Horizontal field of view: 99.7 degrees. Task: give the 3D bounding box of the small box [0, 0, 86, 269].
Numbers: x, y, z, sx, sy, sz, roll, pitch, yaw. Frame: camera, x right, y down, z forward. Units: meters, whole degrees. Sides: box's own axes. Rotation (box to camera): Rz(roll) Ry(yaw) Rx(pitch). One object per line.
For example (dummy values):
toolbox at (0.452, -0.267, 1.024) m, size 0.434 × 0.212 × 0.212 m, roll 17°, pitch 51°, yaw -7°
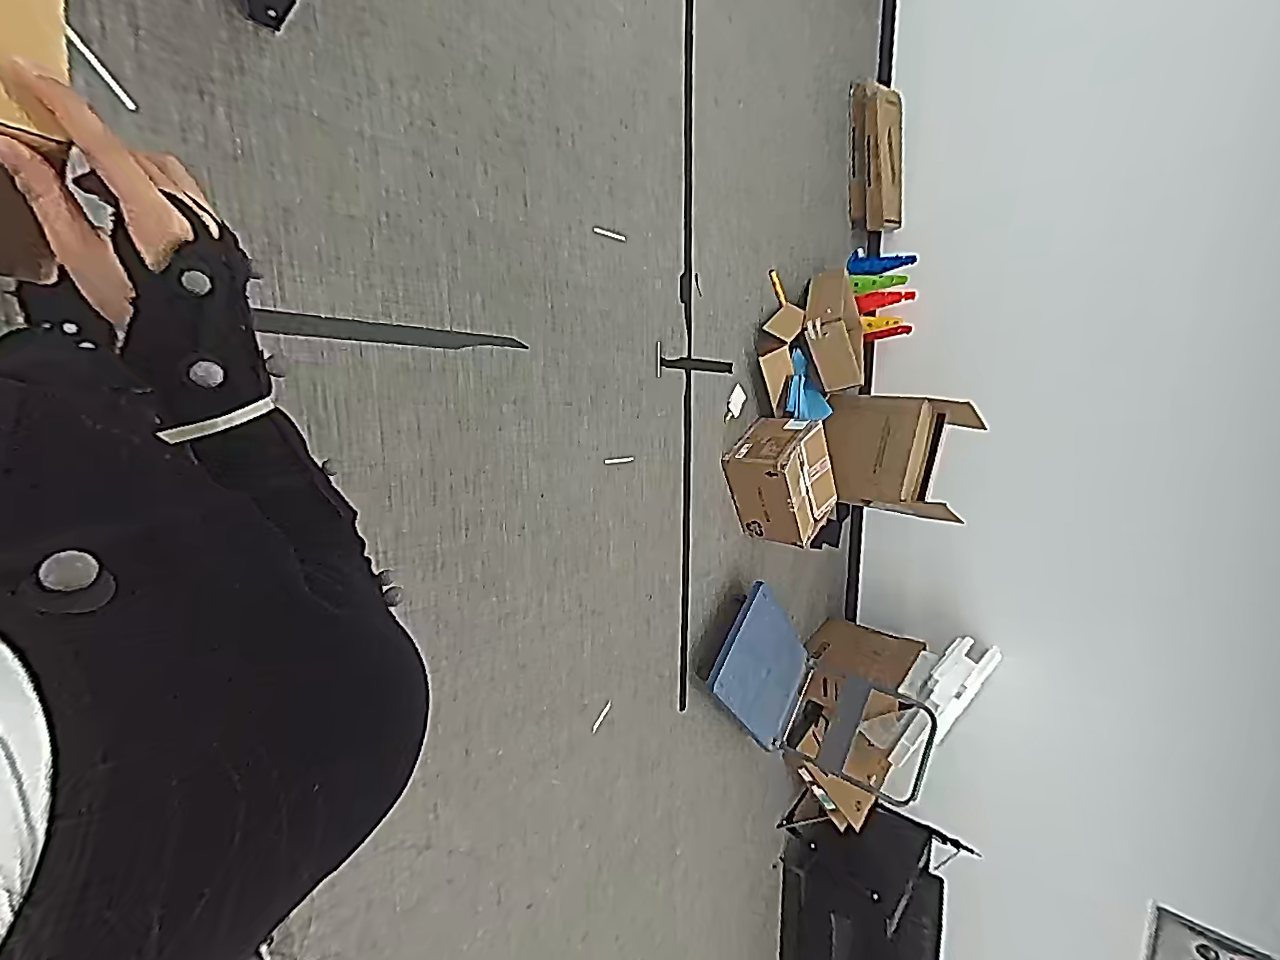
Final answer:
small box at (-0.408, -0.228, 0.265) m, size 0.179 × 0.176 × 0.168 m, roll -3°, pitch 82°, yaw -49°
